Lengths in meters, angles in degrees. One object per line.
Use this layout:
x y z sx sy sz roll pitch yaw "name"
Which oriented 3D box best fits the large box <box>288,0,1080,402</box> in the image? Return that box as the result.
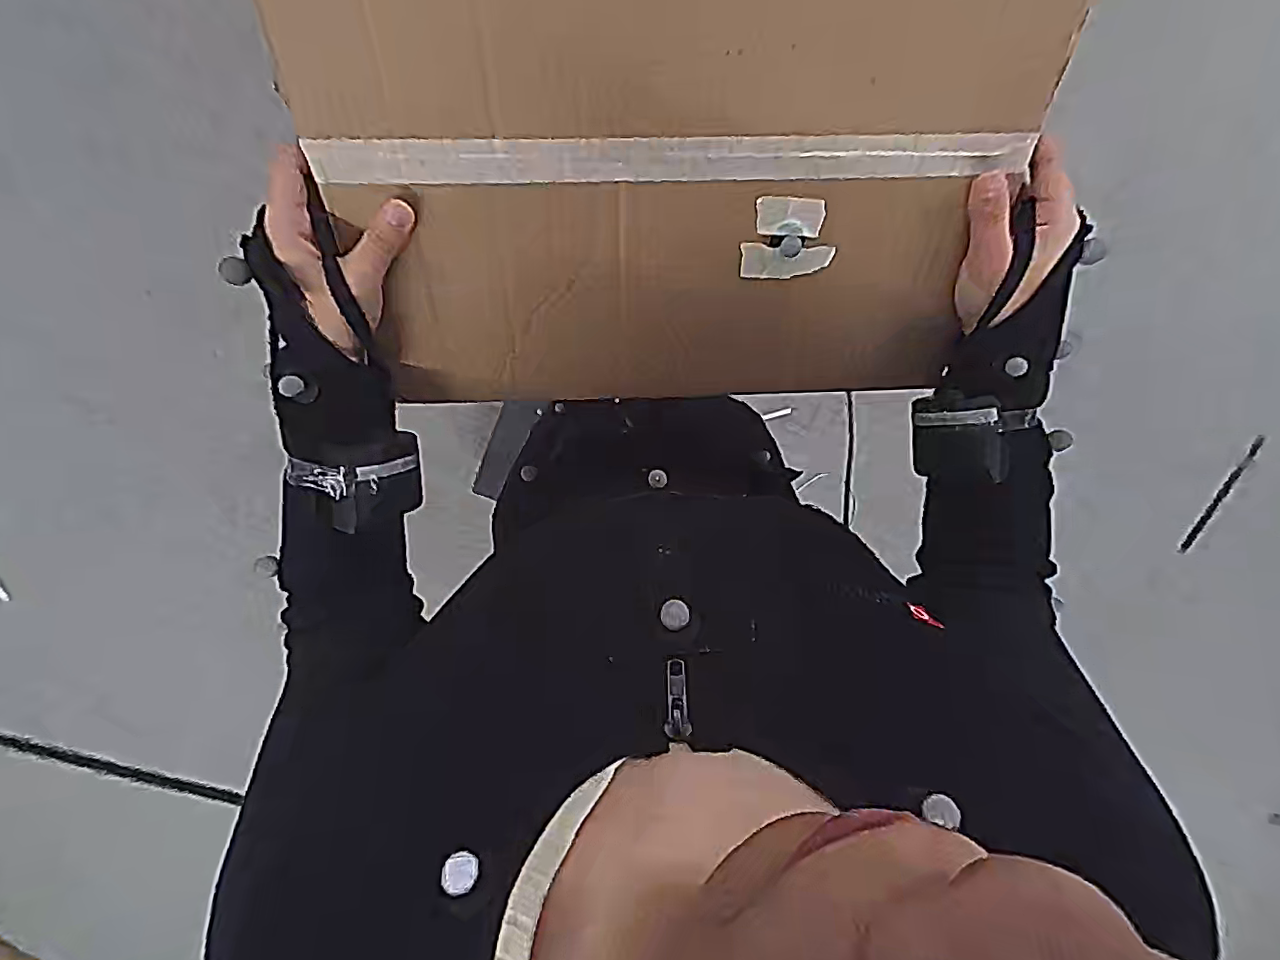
0.015 -0.279 0.430 0.408 0.320 0.320 -2 131 -4 "large box"
